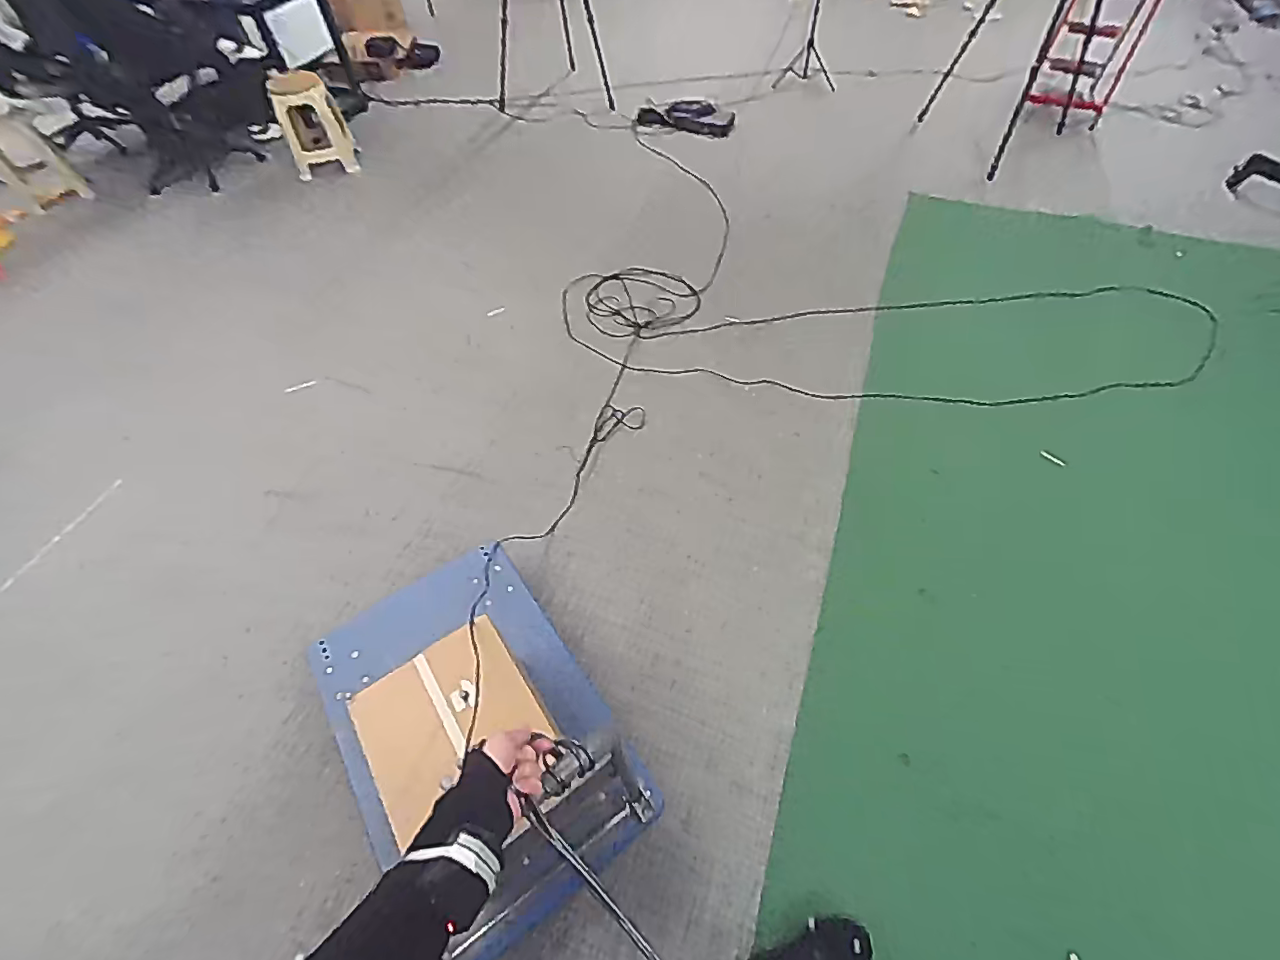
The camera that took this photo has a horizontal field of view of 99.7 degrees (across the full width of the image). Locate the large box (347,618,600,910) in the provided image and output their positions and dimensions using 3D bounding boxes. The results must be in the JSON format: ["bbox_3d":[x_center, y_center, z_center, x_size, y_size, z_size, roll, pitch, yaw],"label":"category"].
[{"bbox_3d":[-0.330,0.581,1.132,0.320,0.320,0.408,-31,58,-19],"label":"large box"}]
